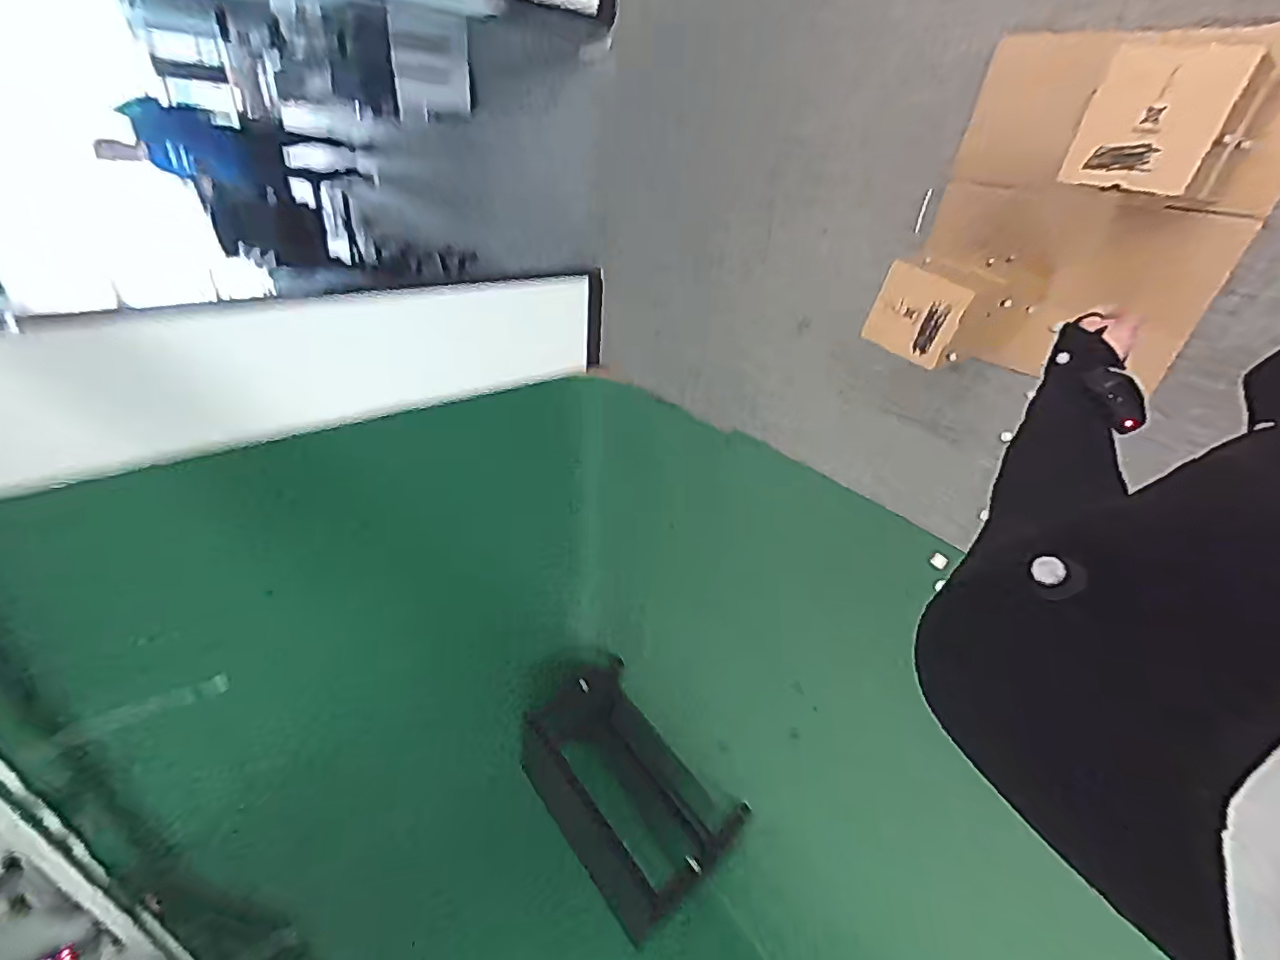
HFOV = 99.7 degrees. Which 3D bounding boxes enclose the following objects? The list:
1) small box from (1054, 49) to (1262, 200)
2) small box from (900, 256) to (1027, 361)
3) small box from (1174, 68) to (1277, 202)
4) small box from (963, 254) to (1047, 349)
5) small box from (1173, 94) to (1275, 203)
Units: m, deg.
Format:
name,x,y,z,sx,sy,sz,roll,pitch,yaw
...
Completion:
name,x,y,z,sx,sy,sz,roll,pitch,yaw
small box,0.791,-0.538,0.828,0.168,0.176,0.179,35,132,37
small box,0.740,-0.397,1.233,0.168,0.176,0.179,43,136,33
small box,0.918,-0.583,0.923,0.168,0.176,0.179,34,133,37
small box,0.862,-0.445,1.336,0.168,0.176,0.179,43,136,32
small box,1.036,-0.633,1.021,0.168,0.176,0.179,36,133,37
